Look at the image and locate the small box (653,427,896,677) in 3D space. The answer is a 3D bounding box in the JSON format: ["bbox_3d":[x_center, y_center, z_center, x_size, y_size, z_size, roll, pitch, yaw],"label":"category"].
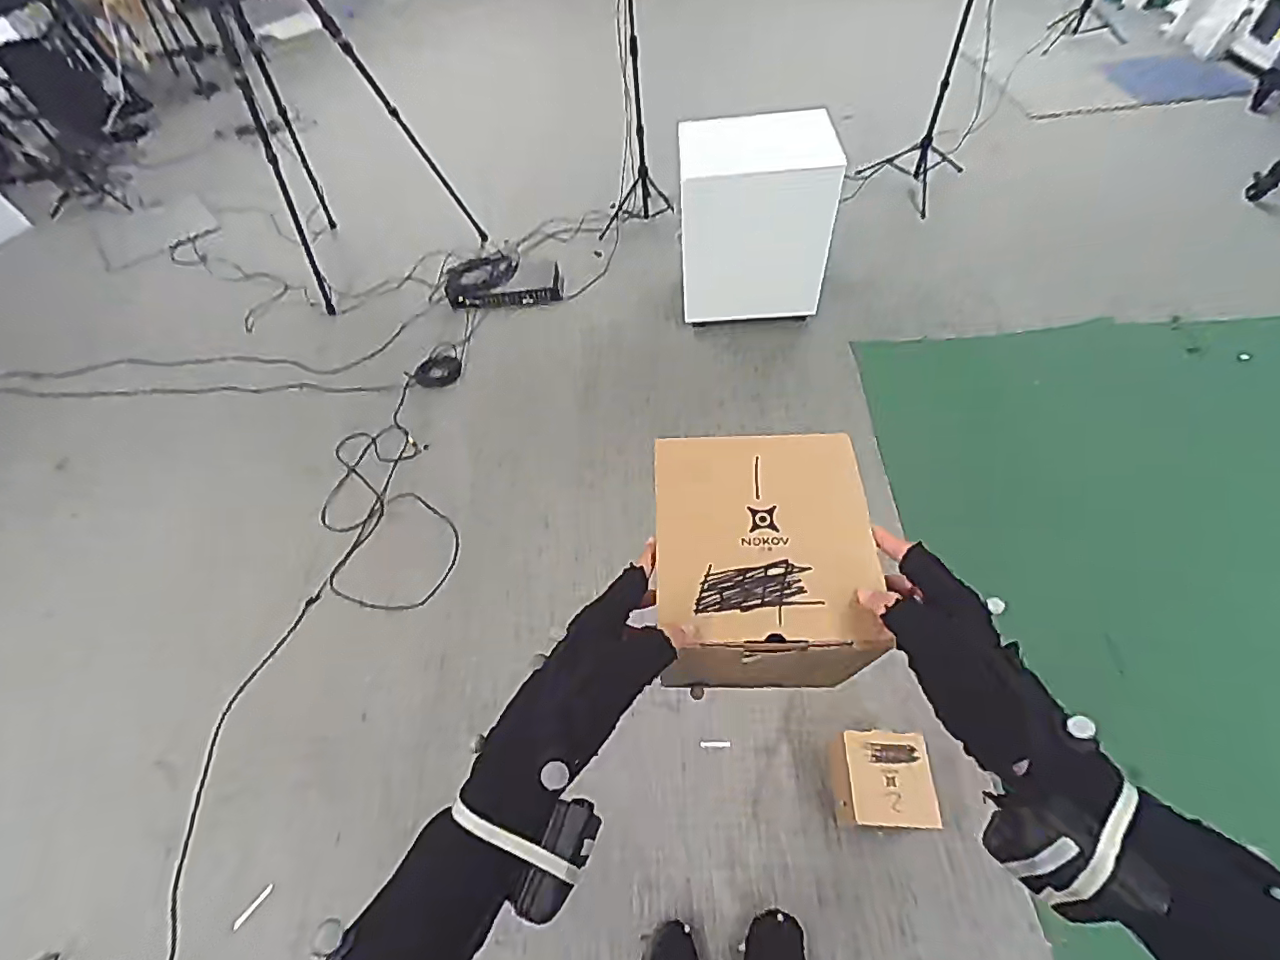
[{"bbox_3d":[0.095,0.073,0.477,0.168,0.176,0.179,-1,60,1],"label":"small box"}]
